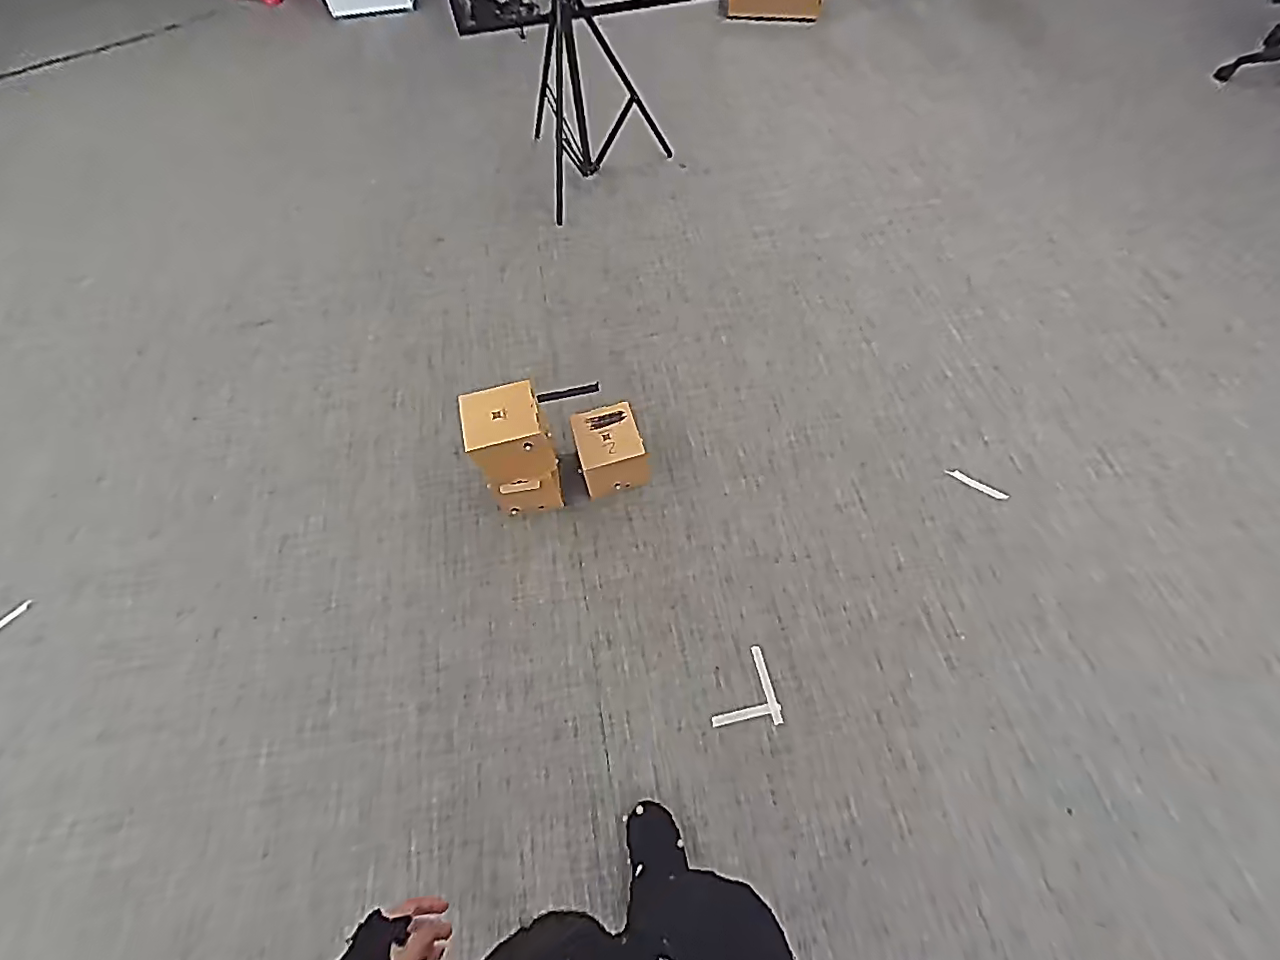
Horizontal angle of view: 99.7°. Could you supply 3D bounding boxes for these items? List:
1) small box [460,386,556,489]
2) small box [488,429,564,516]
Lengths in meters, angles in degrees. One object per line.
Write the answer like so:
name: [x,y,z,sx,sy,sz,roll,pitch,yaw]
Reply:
small box: [-0.319,-0.098,1.321,0.179,0.176,0.168,-15,61,-5]
small box: [-0.304,-0.013,1.459,0.168,0.176,0.179,-9,60,-1]
